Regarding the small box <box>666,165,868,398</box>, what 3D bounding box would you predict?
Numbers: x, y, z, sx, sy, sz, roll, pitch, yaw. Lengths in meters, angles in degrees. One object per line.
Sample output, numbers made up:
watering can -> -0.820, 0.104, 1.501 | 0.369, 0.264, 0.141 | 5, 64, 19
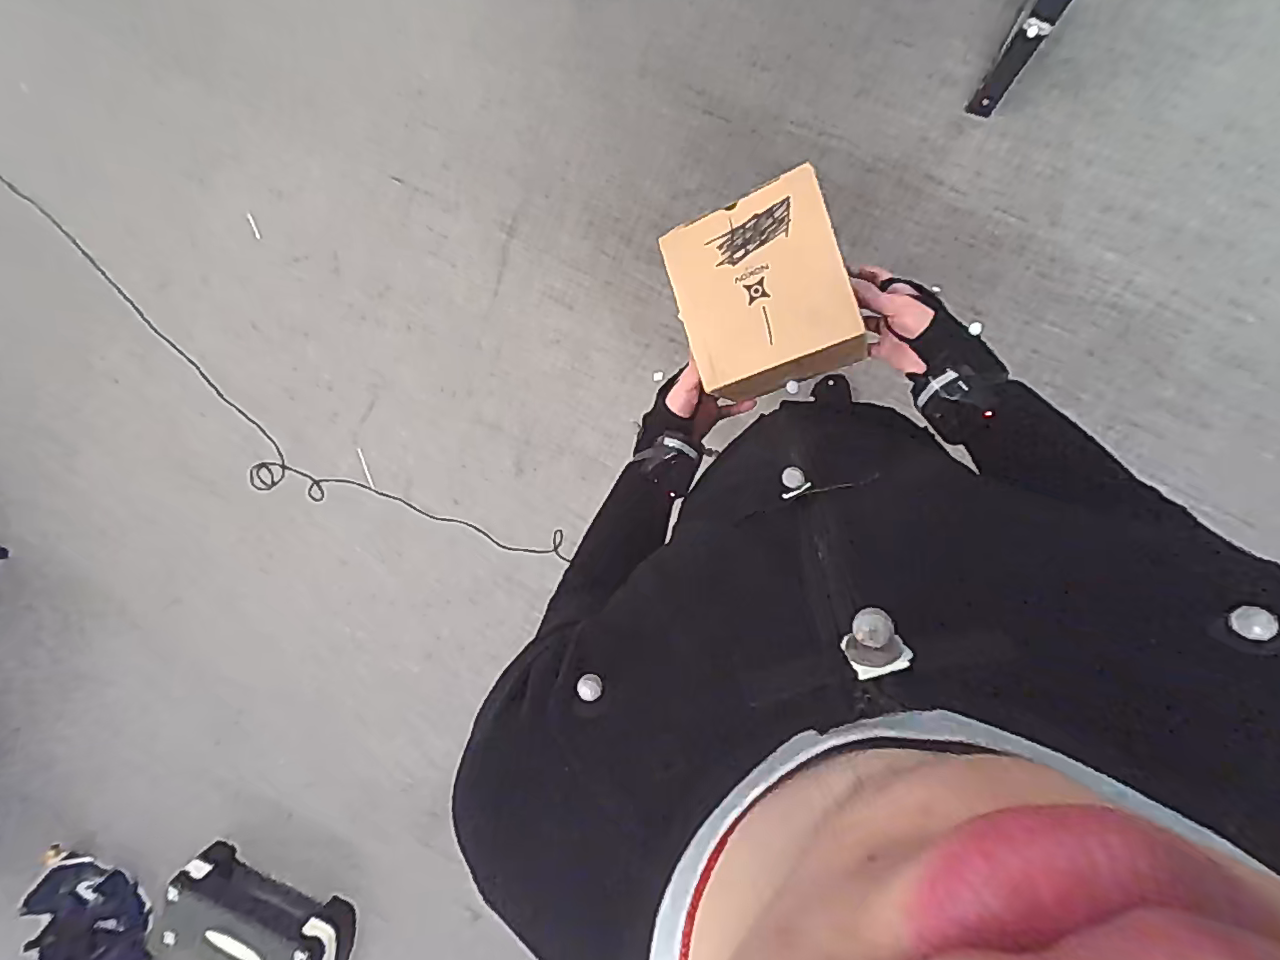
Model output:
small box -> 0.150, -0.205, 0.617 | 0.168, 0.176, 0.179 | -17, 87, 23
